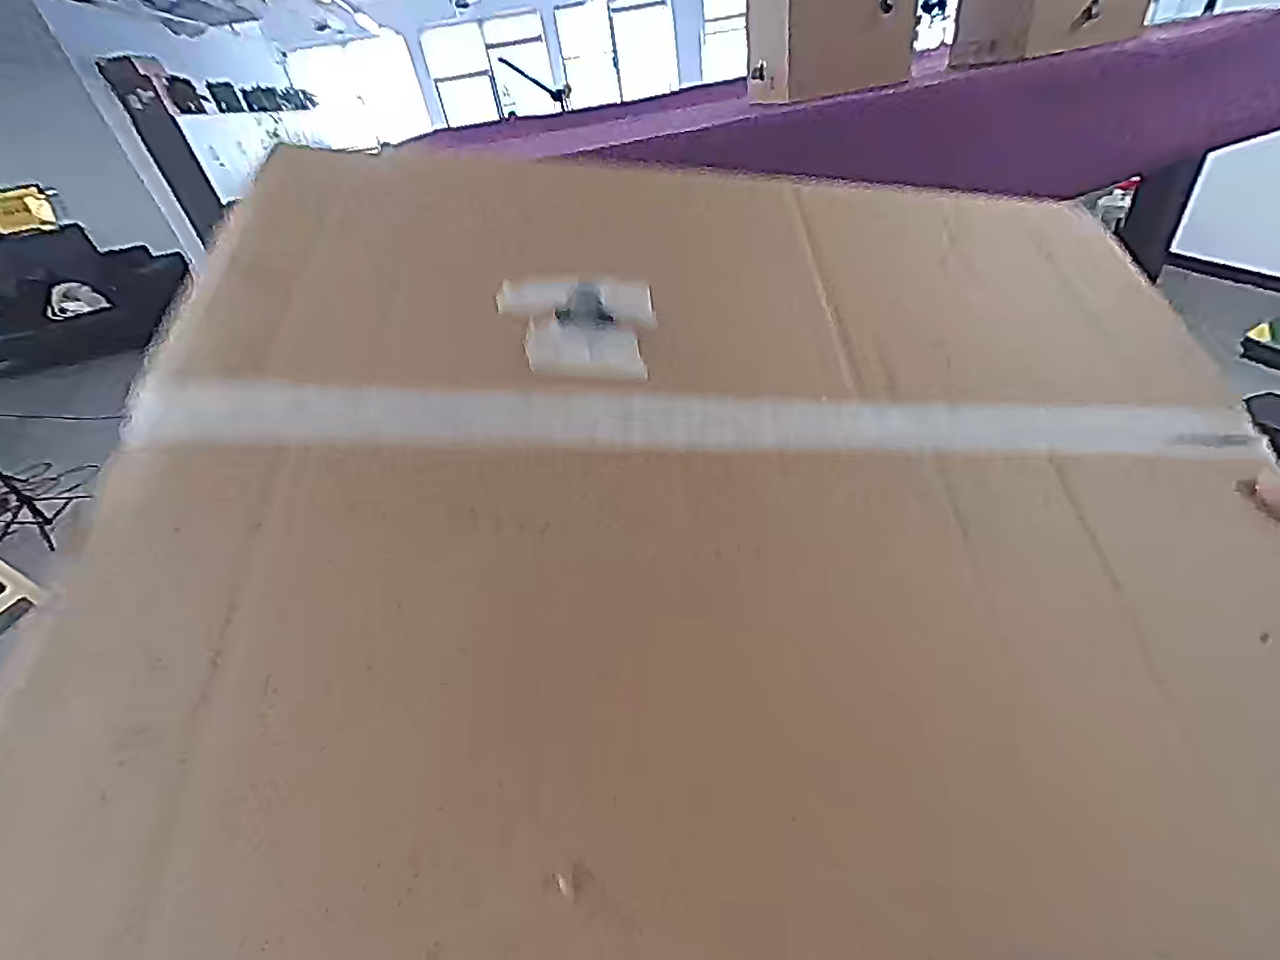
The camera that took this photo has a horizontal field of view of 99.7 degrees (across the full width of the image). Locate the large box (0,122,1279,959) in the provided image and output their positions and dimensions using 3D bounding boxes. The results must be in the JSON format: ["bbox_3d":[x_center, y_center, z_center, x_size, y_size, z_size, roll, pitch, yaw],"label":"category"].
[{"bbox_3d":[0.028,0.047,0.317,0.408,0.320,0.320,0,60,-7],"label":"large box"}]

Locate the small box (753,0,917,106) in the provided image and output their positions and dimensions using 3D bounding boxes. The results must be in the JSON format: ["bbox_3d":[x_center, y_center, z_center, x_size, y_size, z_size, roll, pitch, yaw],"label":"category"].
[{"bbox_3d":[0.259,-0.632,0.743,0.179,0.176,0.168,-13,35,-2],"label":"small box"}]

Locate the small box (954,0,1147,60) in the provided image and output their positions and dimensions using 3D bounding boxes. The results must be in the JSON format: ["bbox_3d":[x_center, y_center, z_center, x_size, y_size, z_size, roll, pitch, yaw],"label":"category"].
[{"bbox_3d":[0.570,-0.692,0.740,0.179,0.176,0.168,-12,35,-2],"label":"small box"}]
